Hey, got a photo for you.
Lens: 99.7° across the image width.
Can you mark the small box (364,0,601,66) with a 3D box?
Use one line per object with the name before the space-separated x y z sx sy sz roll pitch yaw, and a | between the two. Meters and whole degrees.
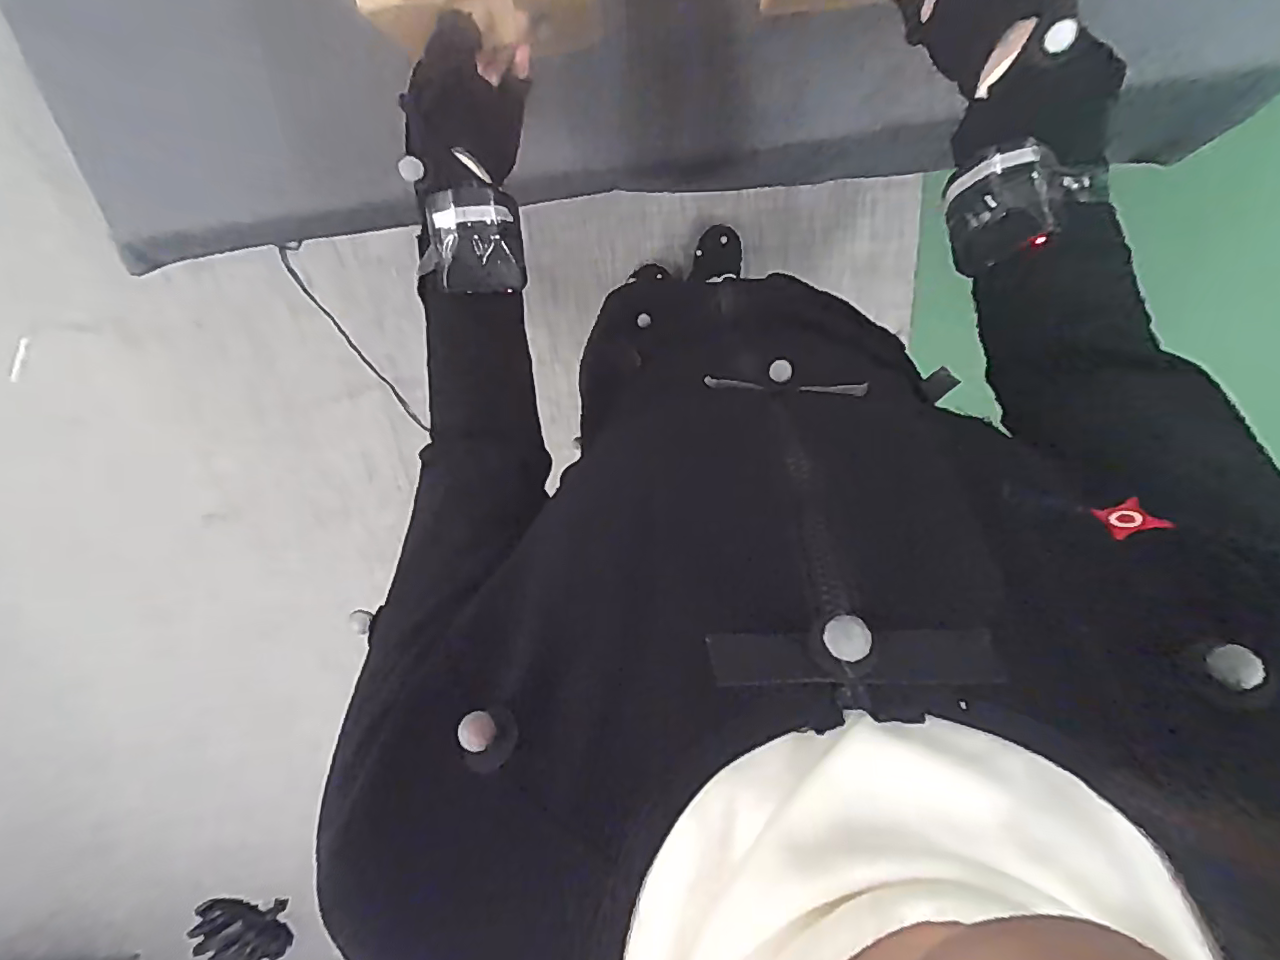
small box | -0.128 -0.450 0.412 0.168 0.176 0.179 -11 112 3
